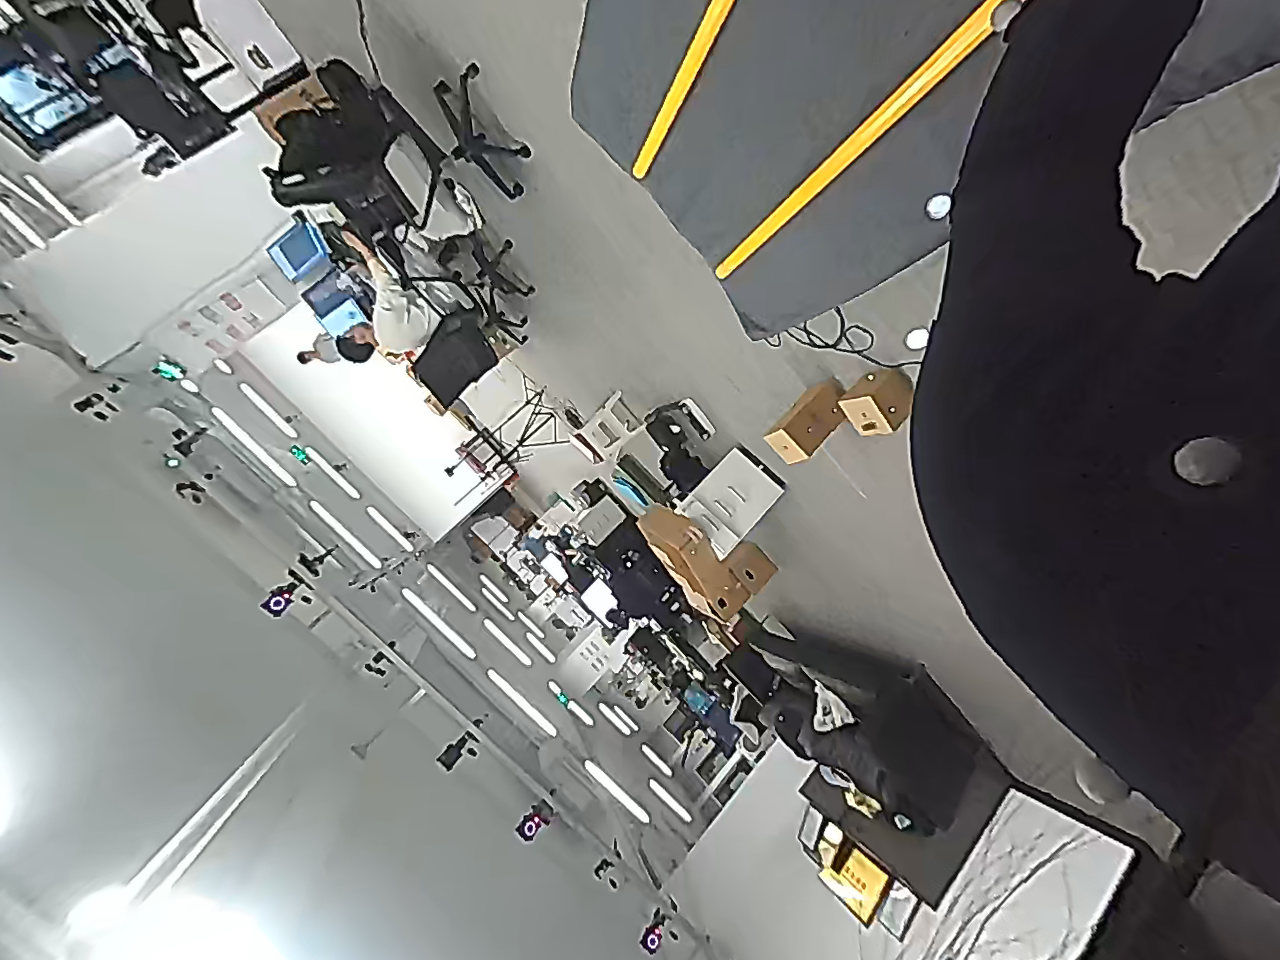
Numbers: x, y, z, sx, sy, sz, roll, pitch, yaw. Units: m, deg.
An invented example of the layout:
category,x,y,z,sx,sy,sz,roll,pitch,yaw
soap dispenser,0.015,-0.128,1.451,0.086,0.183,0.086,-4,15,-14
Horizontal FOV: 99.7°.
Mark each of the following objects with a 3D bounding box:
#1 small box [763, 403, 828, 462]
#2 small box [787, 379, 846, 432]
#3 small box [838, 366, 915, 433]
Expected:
category,x,y,z,sx,sy,sz,roll,pitch,yaw
small box,0.659,-0.201,2.274,0.168,0.176,0.179,46,166,-5
small box,0.771,-0.311,2.324,0.168,0.176,0.179,46,166,-6
small box,0.892,-0.301,2.031,0.179,0.176,0.168,49,164,-15
